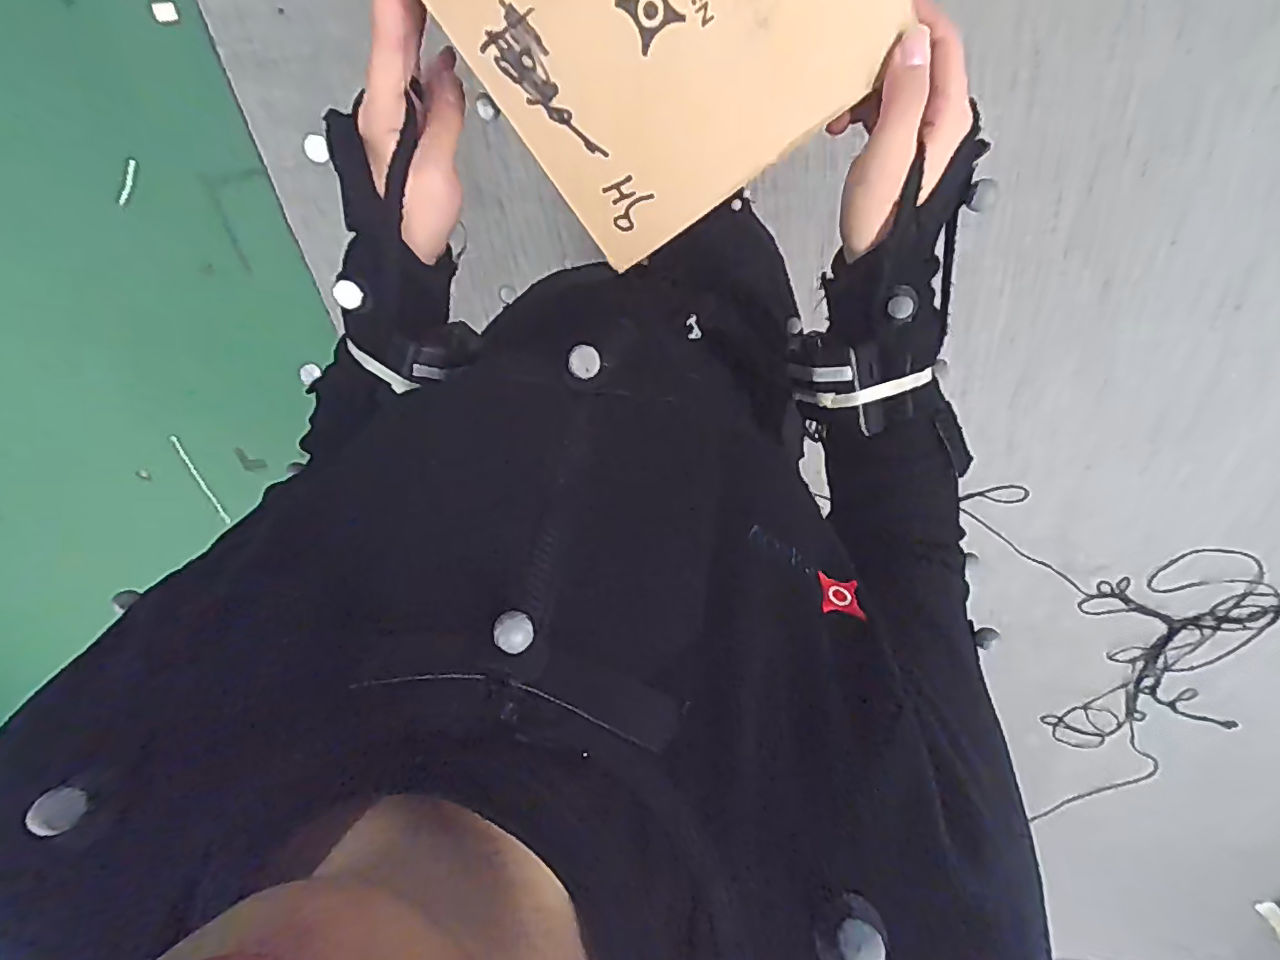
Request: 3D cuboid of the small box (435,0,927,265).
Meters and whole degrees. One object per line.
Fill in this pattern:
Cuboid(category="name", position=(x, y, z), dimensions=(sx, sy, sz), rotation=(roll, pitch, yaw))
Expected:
Cuboid(category="small box", position=(0.011, -0.258, 0.290), dimensions=(0.179, 0.176, 0.168), rotation=(-29, 125, 19))
